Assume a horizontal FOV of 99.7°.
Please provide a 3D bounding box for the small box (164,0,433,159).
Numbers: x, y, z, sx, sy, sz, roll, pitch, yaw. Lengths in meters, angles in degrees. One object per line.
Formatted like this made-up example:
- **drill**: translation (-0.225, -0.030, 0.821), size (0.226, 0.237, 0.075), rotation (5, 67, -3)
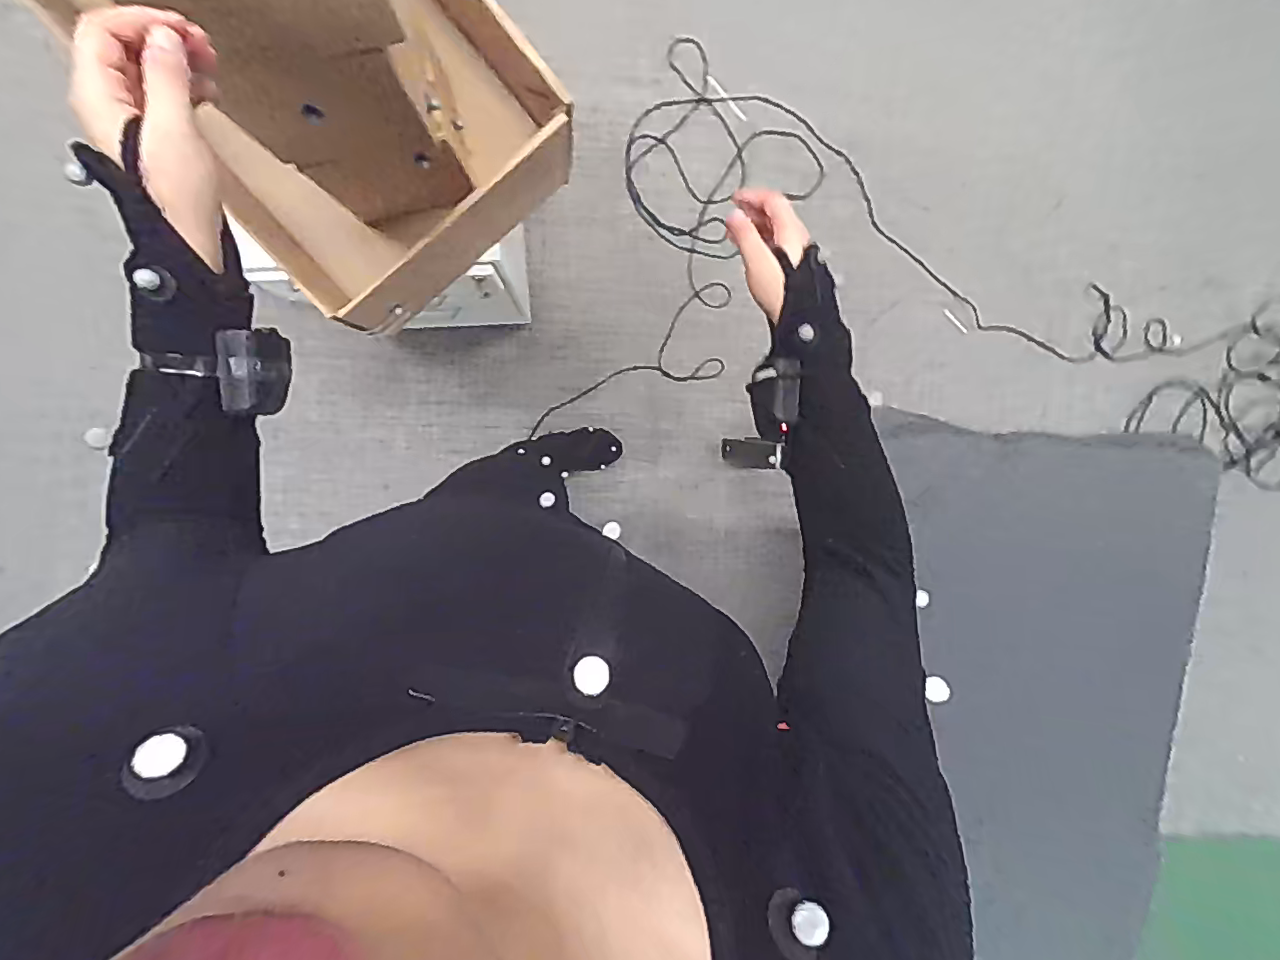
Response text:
- **small box**: translation (-0.315, -0.441, 0.524), size (0.179, 0.176, 0.168), rotation (-8, 96, -3)
